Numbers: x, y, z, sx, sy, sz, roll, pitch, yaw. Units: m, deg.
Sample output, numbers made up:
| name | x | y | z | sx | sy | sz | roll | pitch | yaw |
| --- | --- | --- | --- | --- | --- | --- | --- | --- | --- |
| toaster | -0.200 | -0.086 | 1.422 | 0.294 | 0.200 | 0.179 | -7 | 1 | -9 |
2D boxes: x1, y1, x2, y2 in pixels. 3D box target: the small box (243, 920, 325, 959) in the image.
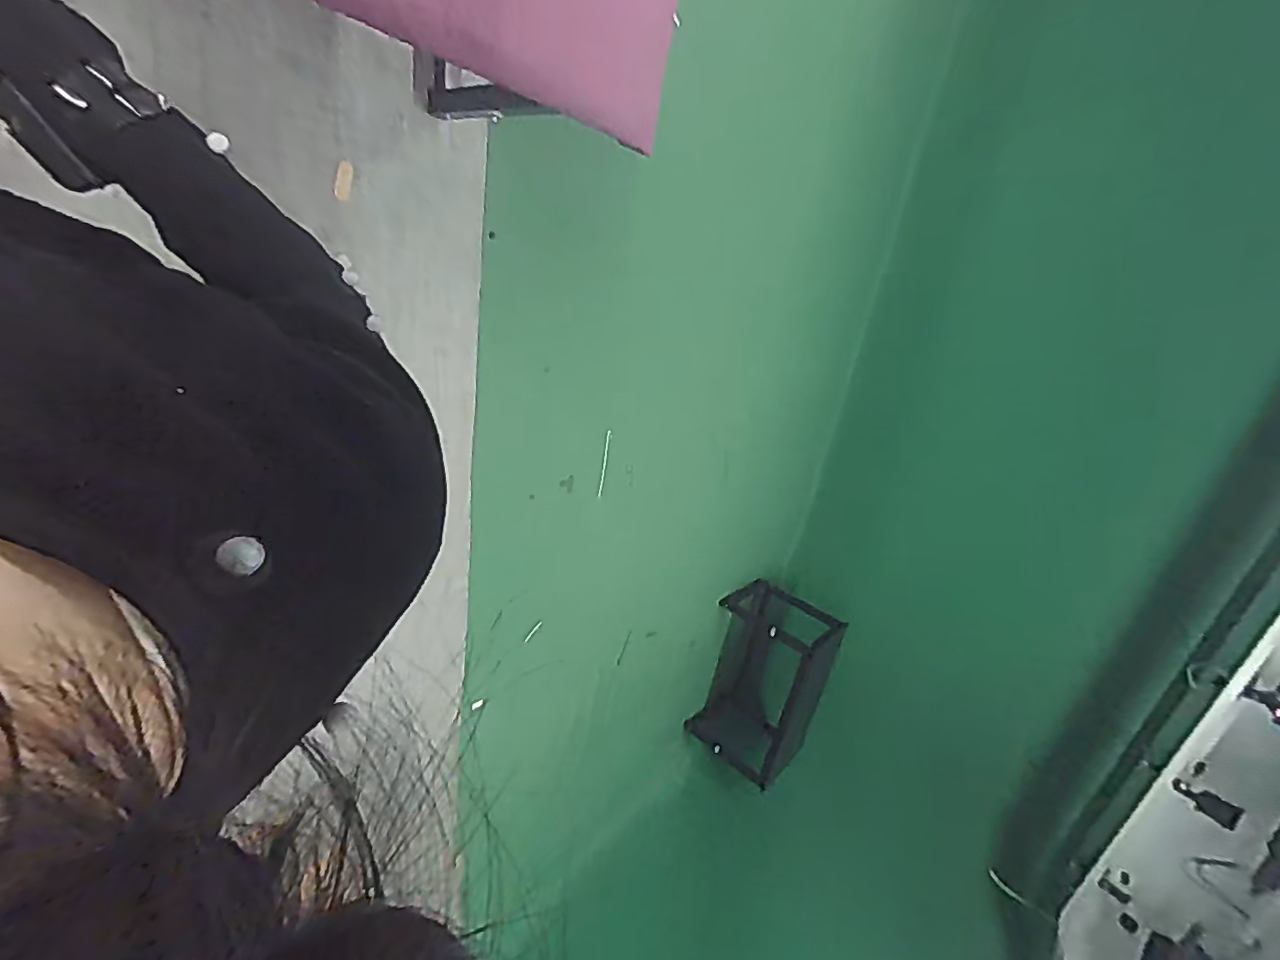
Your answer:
| name | x | y | z | sx | sy | sz | roll | pitch | yaw |
| --- | --- | --- | --- | --- | --- | --- | --- | --- | --- |
| small box | -0.928 | 1.307 | 1.407 | 0.168 | 0.176 | 0.179 | -30 | 133 | -37 |
